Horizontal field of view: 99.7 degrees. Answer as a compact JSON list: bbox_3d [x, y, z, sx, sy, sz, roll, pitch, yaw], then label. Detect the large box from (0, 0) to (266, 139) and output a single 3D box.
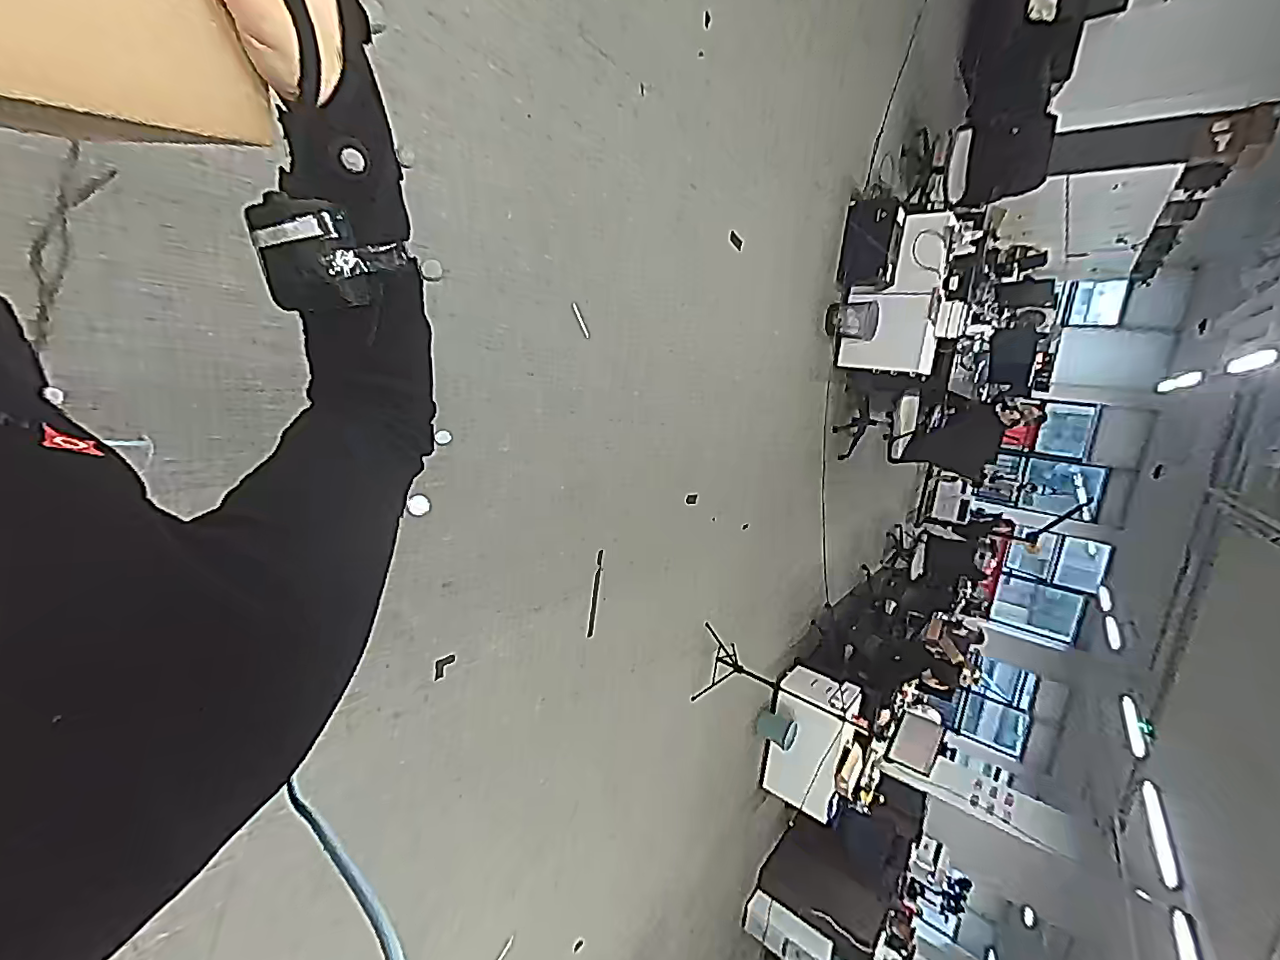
[{"bbox_3d":[-0.433,-0.323,0.169,0.408,0.320,0.320,-26,131,-51],"label":"large box"}]
